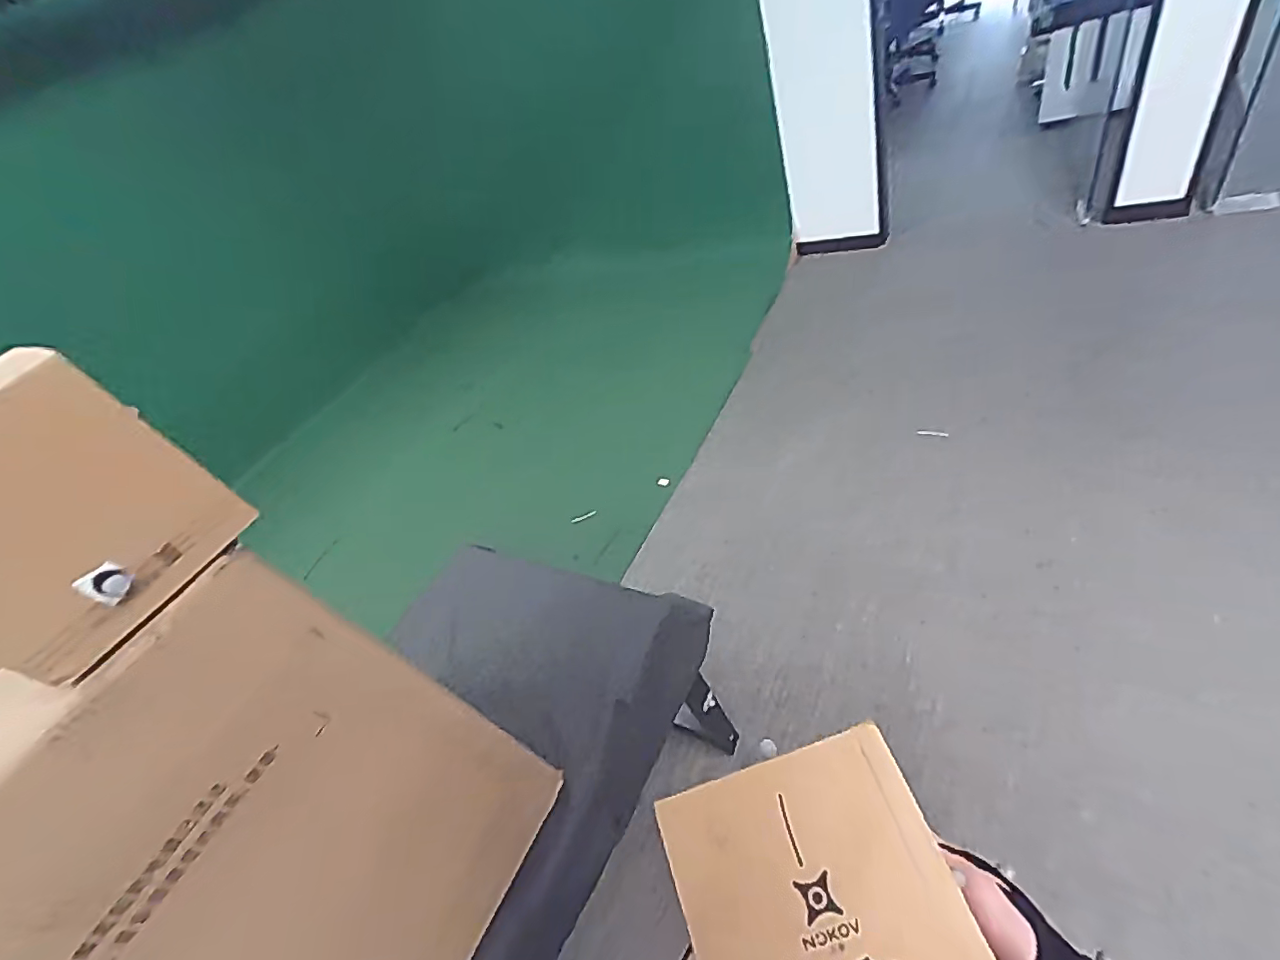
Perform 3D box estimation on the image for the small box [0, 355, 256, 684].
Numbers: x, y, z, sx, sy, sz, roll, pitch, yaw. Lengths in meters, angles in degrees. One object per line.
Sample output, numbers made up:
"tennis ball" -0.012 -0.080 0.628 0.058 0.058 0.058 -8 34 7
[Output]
"small box" -0.447 0.025 0.404 0.179 0.176 0.168 10 53 33
